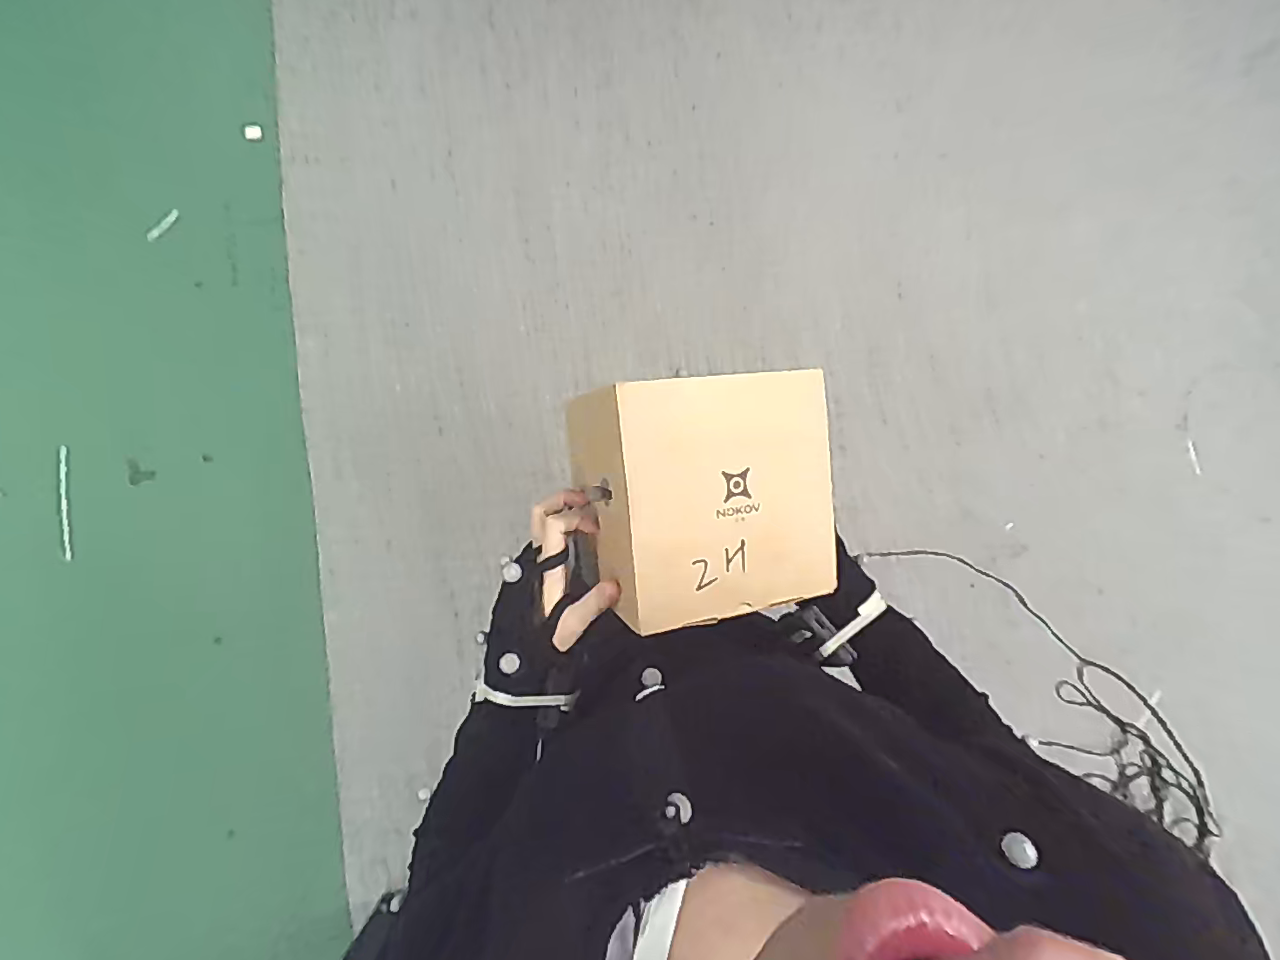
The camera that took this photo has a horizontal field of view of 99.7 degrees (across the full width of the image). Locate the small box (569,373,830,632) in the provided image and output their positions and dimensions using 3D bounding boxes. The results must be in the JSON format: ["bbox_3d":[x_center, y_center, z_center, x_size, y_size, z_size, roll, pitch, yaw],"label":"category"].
[{"bbox_3d":[0.040,0.009,0.469,0.168,0.176,0.179,-7,96,-18],"label":"small box"}]
